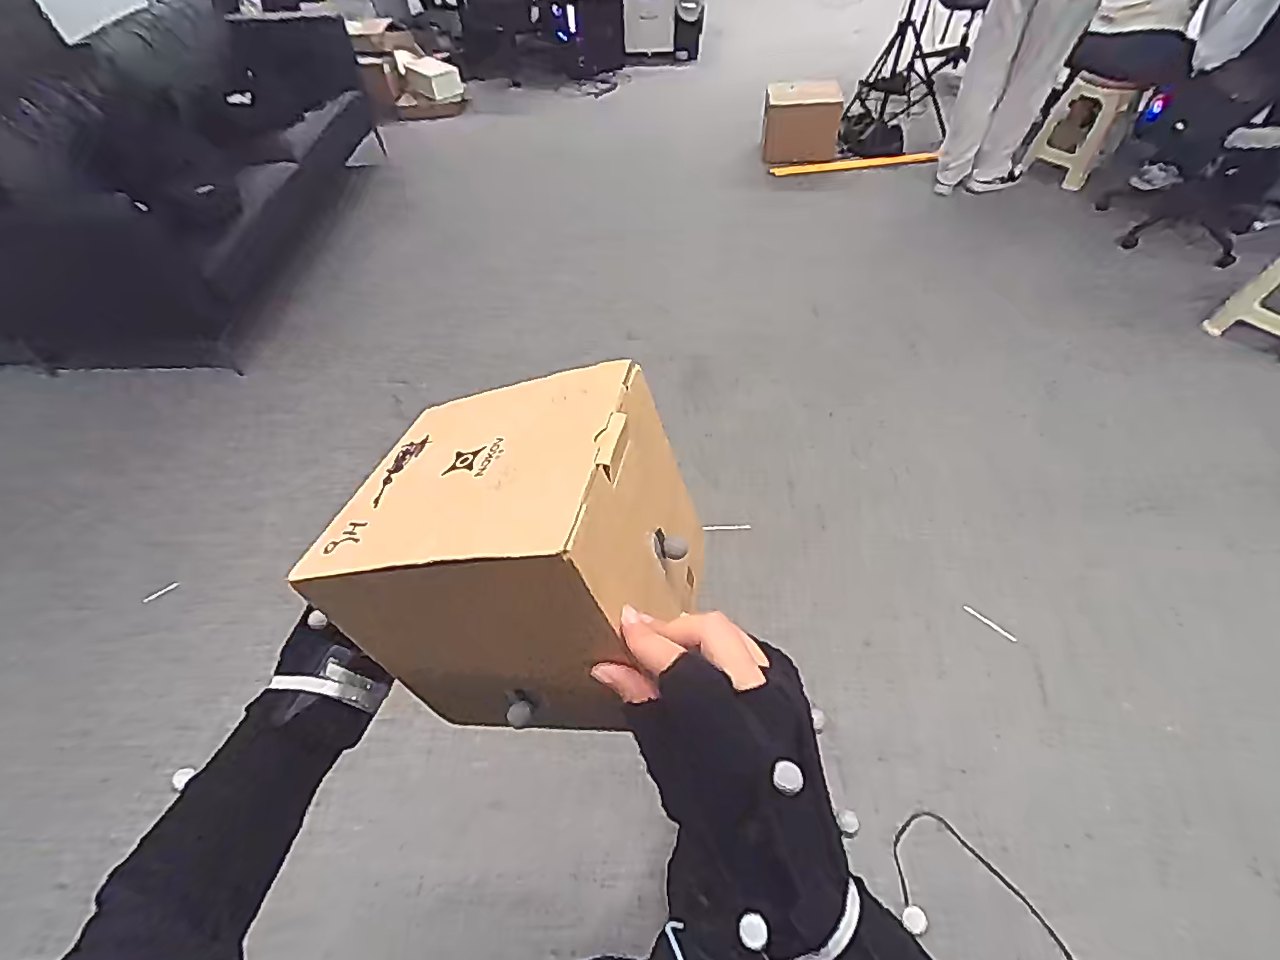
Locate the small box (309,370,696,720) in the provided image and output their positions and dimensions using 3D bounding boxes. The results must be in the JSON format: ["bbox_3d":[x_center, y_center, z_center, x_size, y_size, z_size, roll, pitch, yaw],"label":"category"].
[{"bbox_3d":[-0.067,0.050,0.379,0.179,0.176,0.168,-8,39,20],"label":"small box"}]
